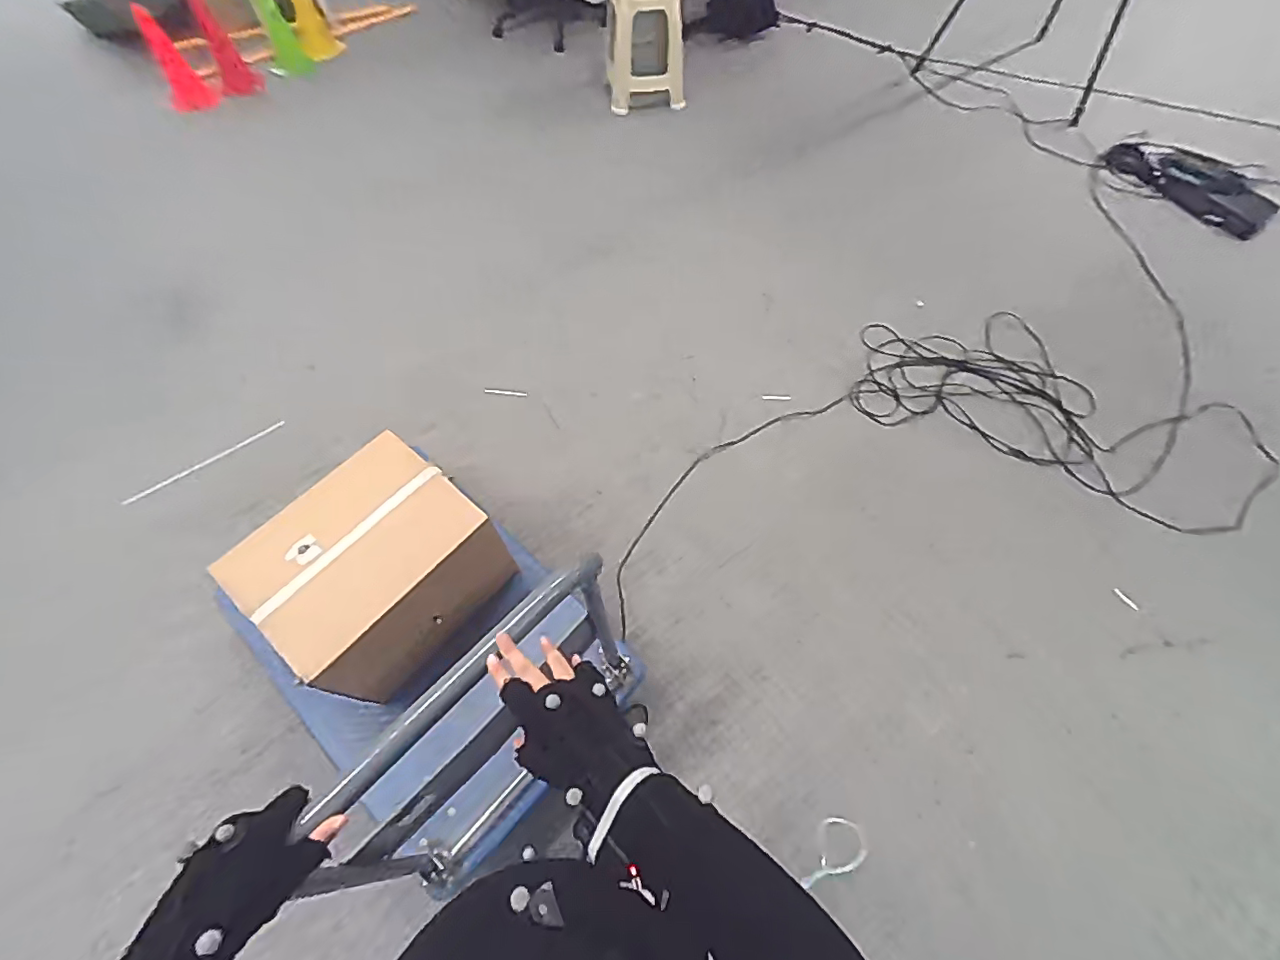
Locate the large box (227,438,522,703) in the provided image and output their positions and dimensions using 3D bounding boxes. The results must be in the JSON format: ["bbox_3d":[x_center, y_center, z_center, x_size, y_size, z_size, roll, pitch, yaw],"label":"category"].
[{"bbox_3d":[-0.517,0.197,1.146,0.320,0.320,0.408,35,68,17],"label":"large box"}]
